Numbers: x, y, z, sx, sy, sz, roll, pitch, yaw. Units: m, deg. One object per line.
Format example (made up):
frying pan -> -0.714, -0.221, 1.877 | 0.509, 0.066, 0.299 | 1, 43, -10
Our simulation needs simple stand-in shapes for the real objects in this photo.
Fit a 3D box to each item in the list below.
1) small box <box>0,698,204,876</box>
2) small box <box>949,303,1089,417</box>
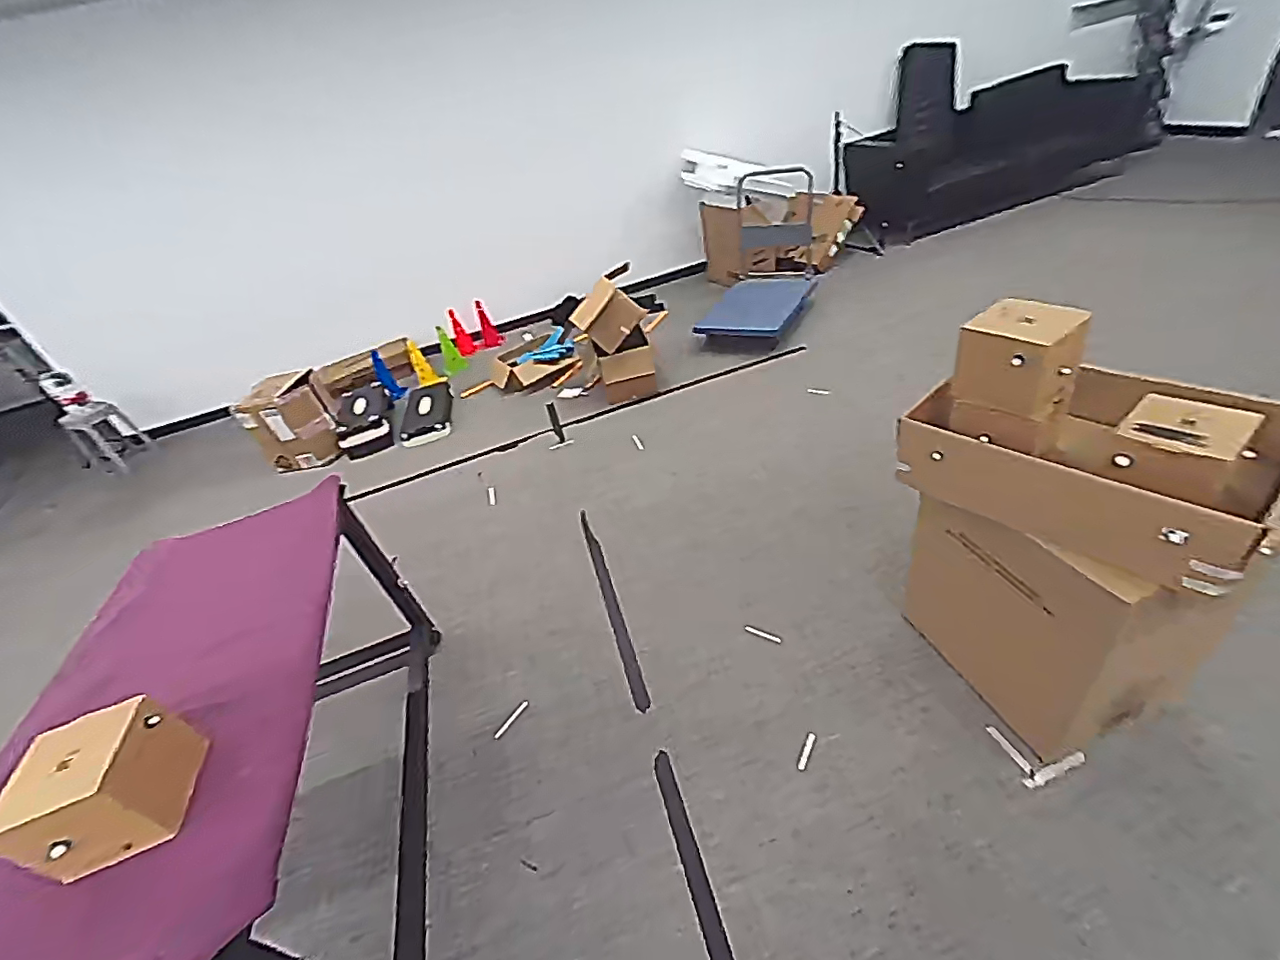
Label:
small box -> -0.860, 0.500, 0.874 | 0.168, 0.176, 0.179 | -21, 36, -10
small box -> 0.795, -0.254, 1.151 | 0.168, 0.176, 0.179 | -31, 39, -20
